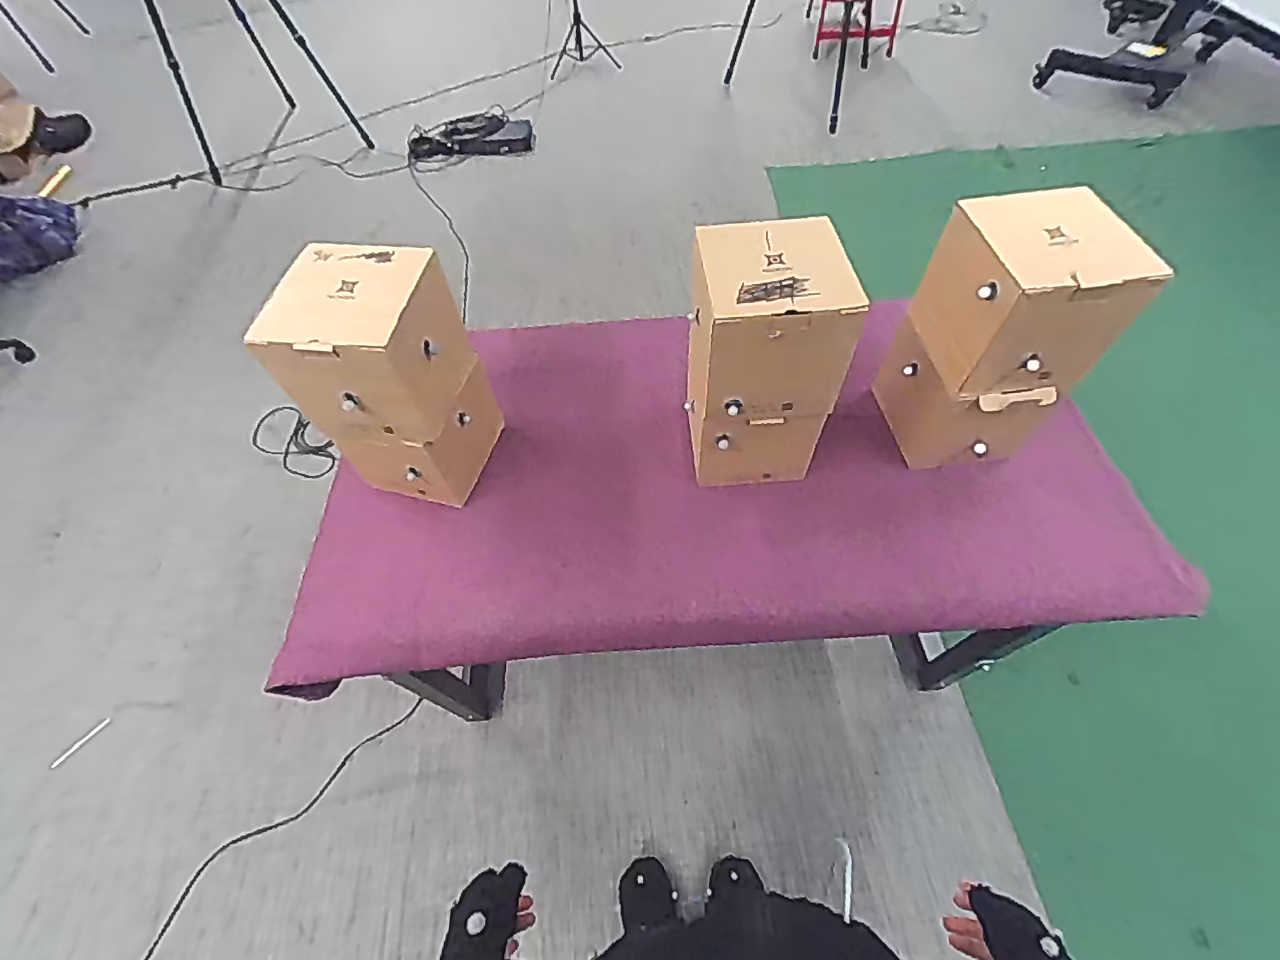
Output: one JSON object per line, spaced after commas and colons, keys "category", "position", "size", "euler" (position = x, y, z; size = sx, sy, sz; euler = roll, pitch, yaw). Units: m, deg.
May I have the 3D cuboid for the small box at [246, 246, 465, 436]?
{"category": "small box", "position": [-0.337, -0.170, 0.688], "size": [0.168, 0.176, 0.179], "euler": [1, 57, 4]}

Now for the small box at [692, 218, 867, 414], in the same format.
{"category": "small box", "position": [0.157, -0.195, 0.675], "size": [0.168, 0.176, 0.179], "euler": [-4, 56, 0]}

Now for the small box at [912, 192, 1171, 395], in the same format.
{"category": "small box", "position": [0.479, -0.231, 0.684], "size": [0.168, 0.176, 0.179], "euler": [-7, 58, -1]}

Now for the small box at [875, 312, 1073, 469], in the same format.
{"category": "small box", "position": [0.483, -0.139, 0.819], "size": [0.168, 0.176, 0.179], "euler": [-7, 57, -1]}

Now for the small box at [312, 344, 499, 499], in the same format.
{"category": "small box", "position": [-0.332, -0.094, 0.811], "size": [0.168, 0.176, 0.179], "euler": [12, 58, 10]}
